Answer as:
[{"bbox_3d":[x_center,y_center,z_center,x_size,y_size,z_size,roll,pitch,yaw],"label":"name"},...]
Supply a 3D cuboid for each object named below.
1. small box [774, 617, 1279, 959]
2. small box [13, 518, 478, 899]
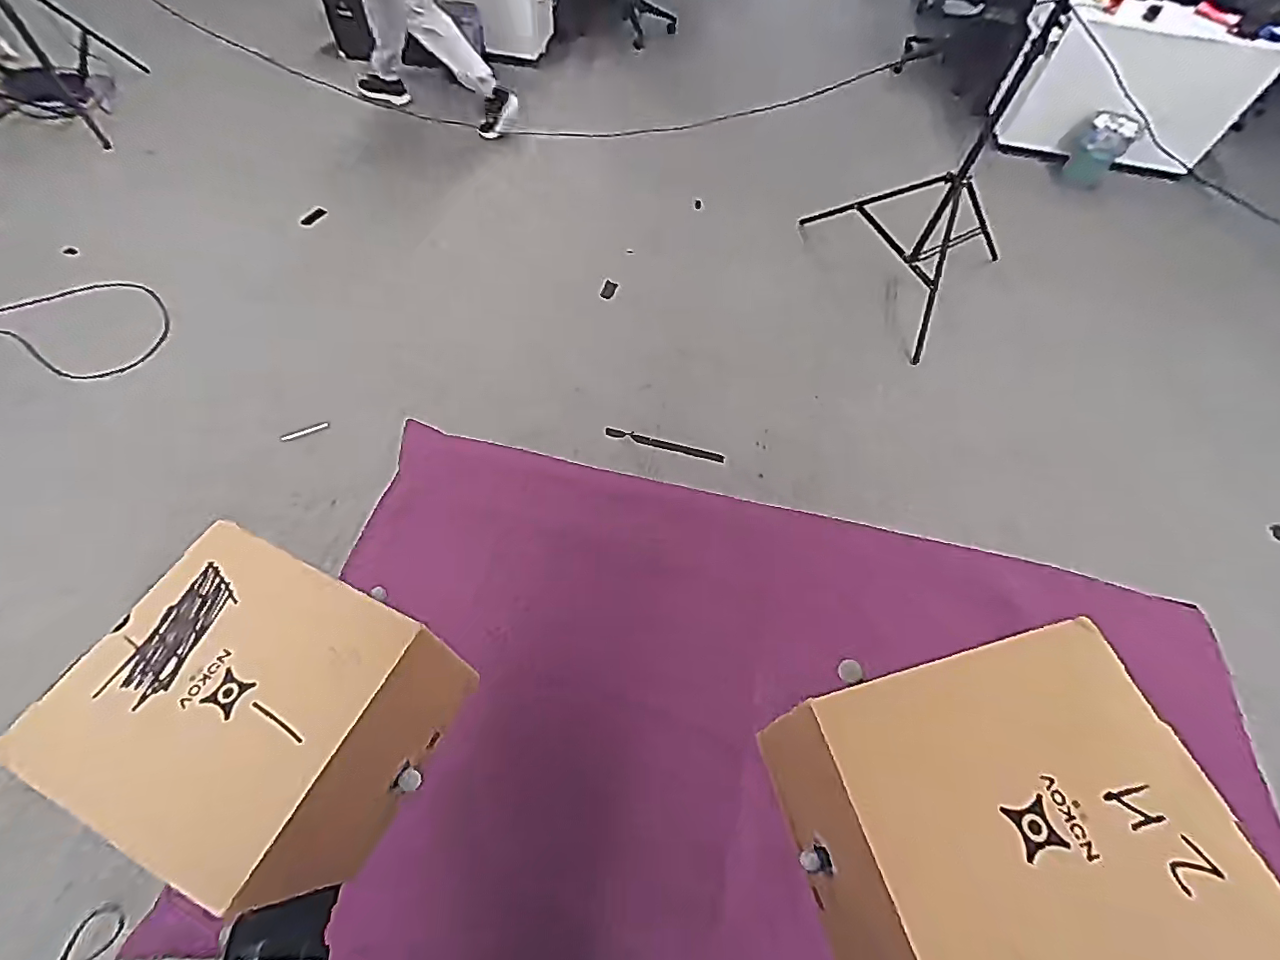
[{"bbox_3d":[0.195,0.206,0.328,0.179,0.176,0.168,-13,60,-8],"label":"small box"},{"bbox_3d":[-0.249,0.161,0.397,0.179,0.176,0.168,24,62,11],"label":"small box"}]
